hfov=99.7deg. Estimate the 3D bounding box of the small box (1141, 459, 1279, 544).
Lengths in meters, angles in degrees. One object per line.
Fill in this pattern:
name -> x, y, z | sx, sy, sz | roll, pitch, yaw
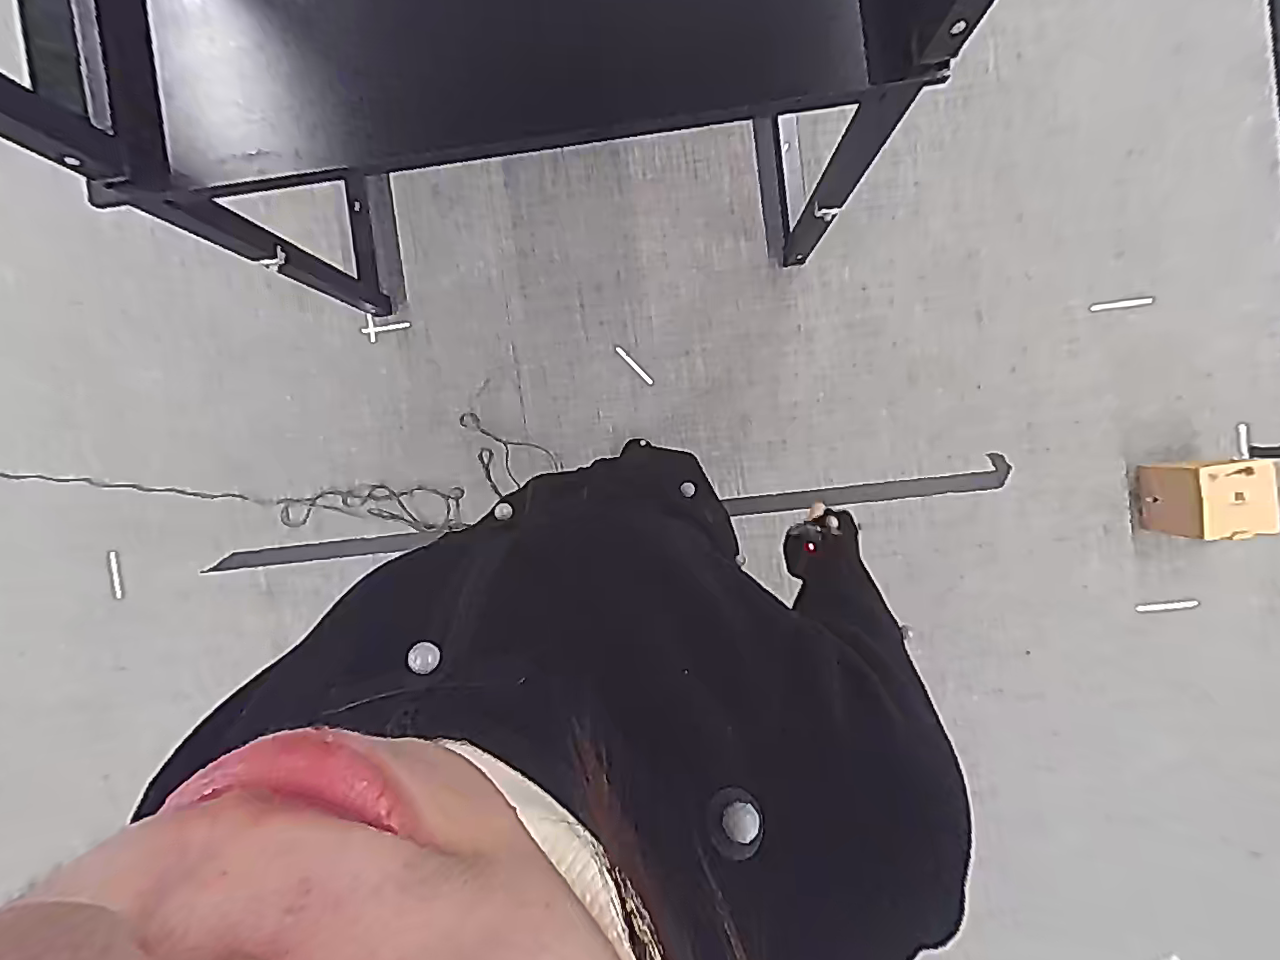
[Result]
small box -> 1.381, 0.047, 1.320 | 0.168, 0.176, 0.179 | -7, 94, 4
